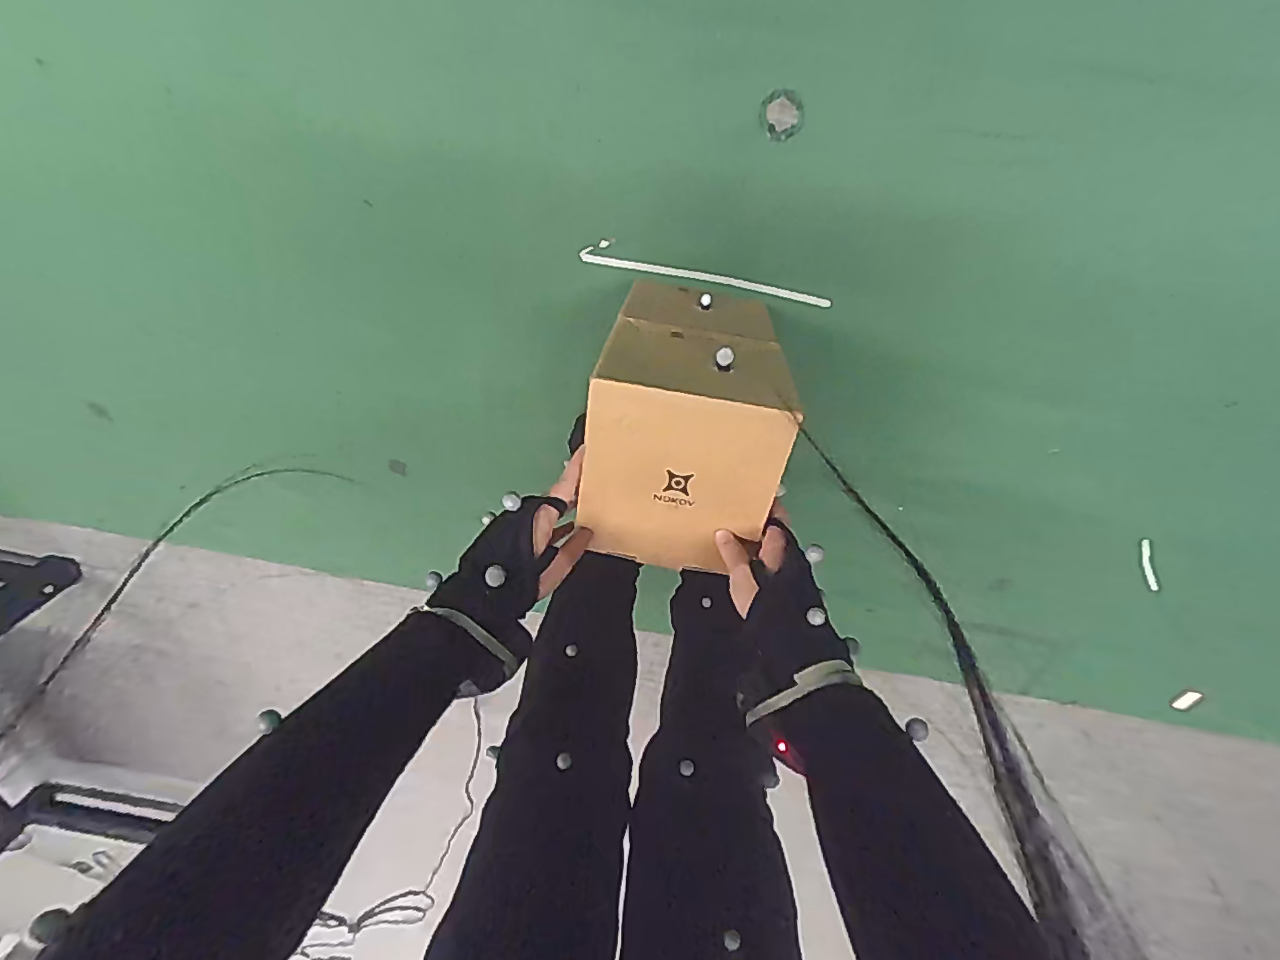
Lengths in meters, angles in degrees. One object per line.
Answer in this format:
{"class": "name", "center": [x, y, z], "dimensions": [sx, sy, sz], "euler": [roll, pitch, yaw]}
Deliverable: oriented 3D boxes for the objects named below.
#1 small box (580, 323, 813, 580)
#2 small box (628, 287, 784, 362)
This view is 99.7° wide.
{"class": "small box", "center": [0.045, -0.036, 0.519], "dimensions": [0.168, 0.176, 0.179], "euler": [11, 122, -1]}
{"class": "small box", "center": [0.059, -0.120, 0.657], "dimensions": [0.168, 0.176, 0.179], "euler": [12, 122, -1]}
